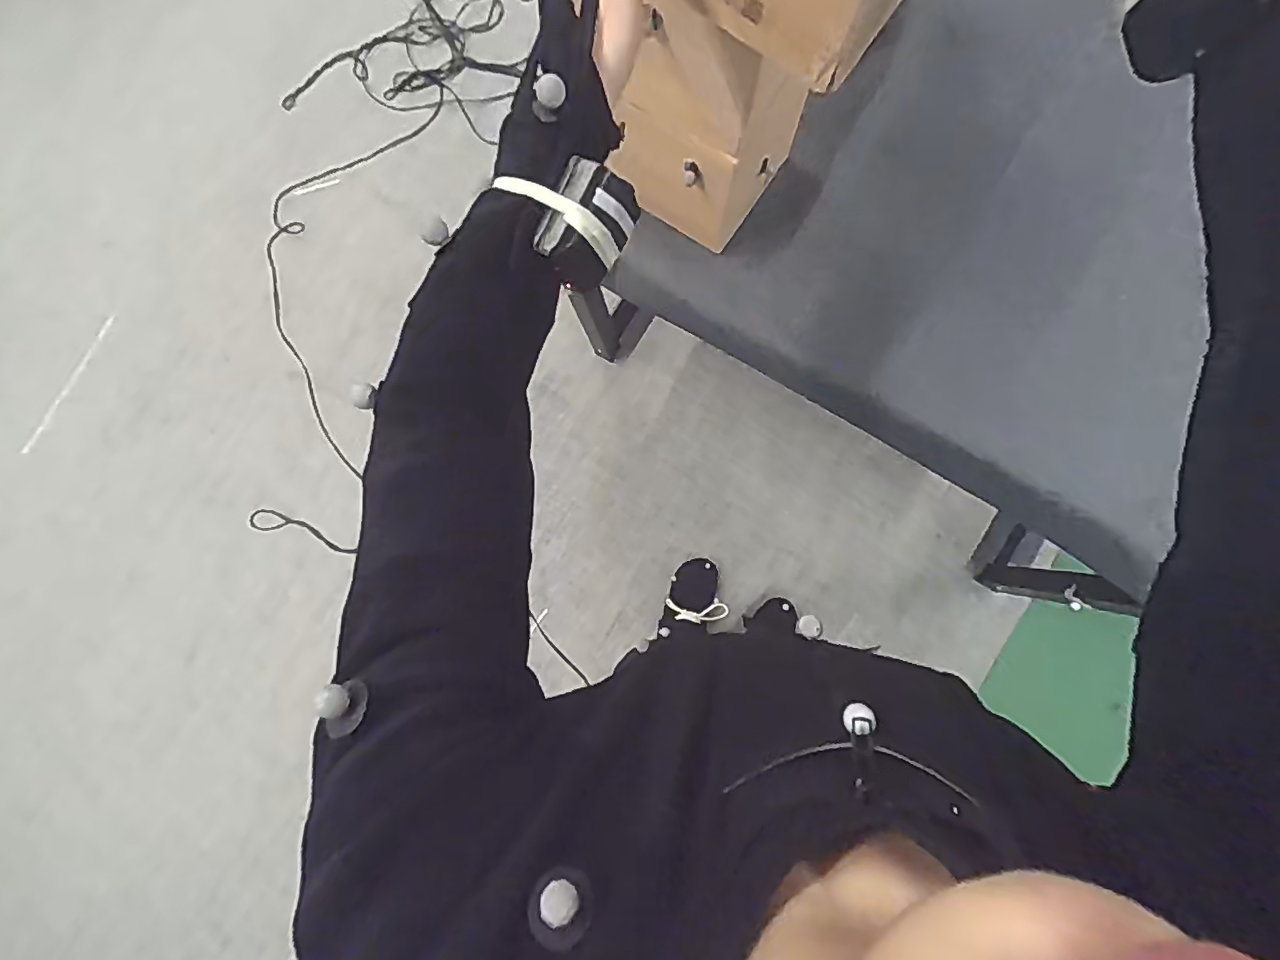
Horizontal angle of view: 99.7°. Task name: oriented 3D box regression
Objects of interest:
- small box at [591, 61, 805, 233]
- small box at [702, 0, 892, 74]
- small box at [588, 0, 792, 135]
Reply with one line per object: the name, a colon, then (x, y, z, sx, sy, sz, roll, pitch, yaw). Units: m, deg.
small box: (0.069, -0.419, 0.618, 0.179, 0.176, 0.168, 34, 86, 5)
small box: (0.096, -0.356, 0.249, 0.168, 0.176, 0.179, 36, 93, 3)
small box: (0.062, -0.441, 0.455, 0.179, 0.176, 0.168, 30, 86, 6)
